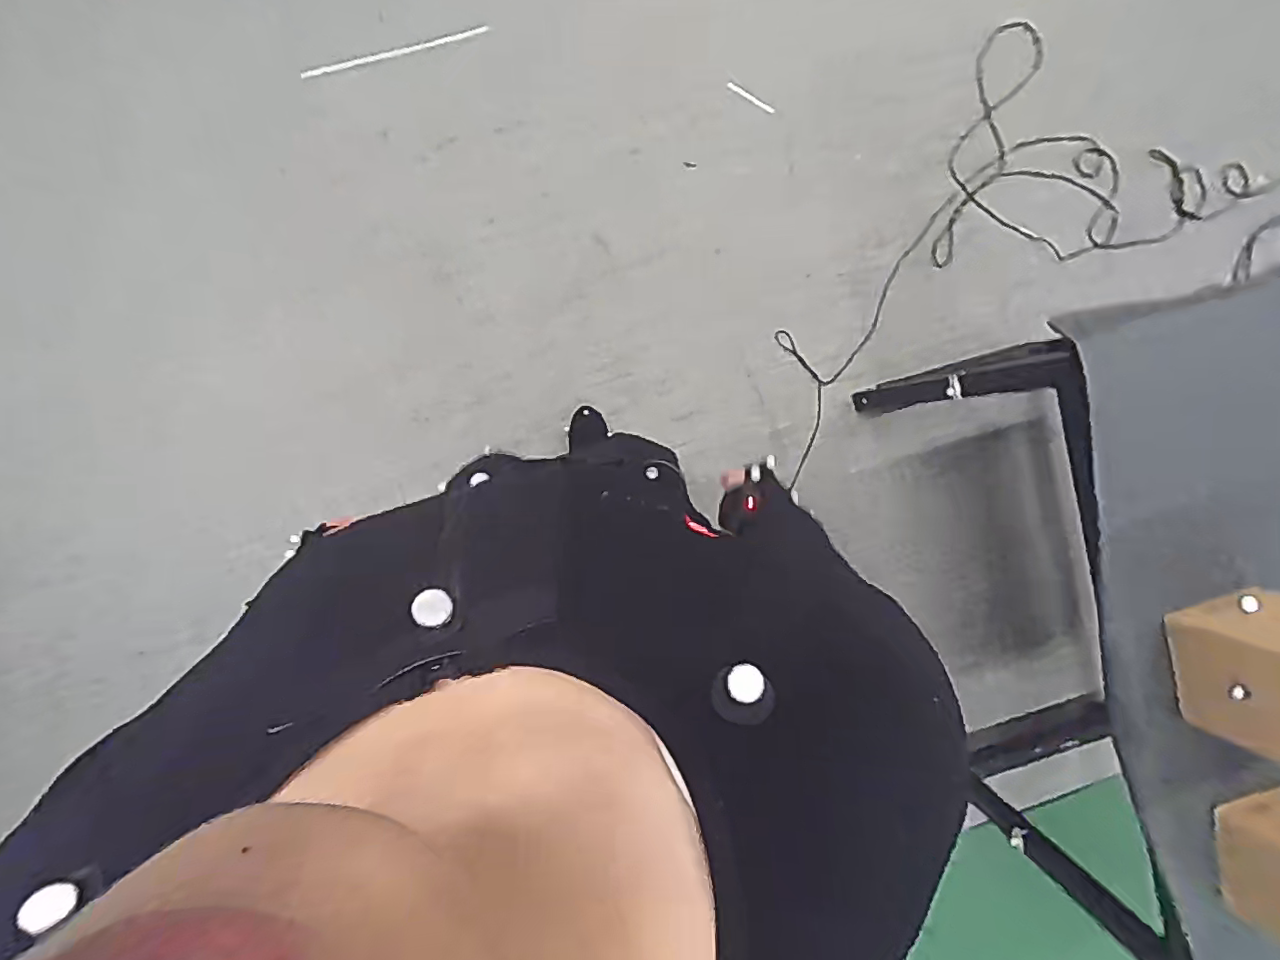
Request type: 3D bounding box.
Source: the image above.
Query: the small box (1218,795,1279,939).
[{"bbox_3d":[1.018,0.596,0.798,0.168,0.176,0.179,-12,96,-4],"label":"small box"}]

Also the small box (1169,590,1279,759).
[{"bbox_3d":[0.912,0.275,0.762,0.168,0.176,0.179,-15,94,-5],"label":"small box"}]
